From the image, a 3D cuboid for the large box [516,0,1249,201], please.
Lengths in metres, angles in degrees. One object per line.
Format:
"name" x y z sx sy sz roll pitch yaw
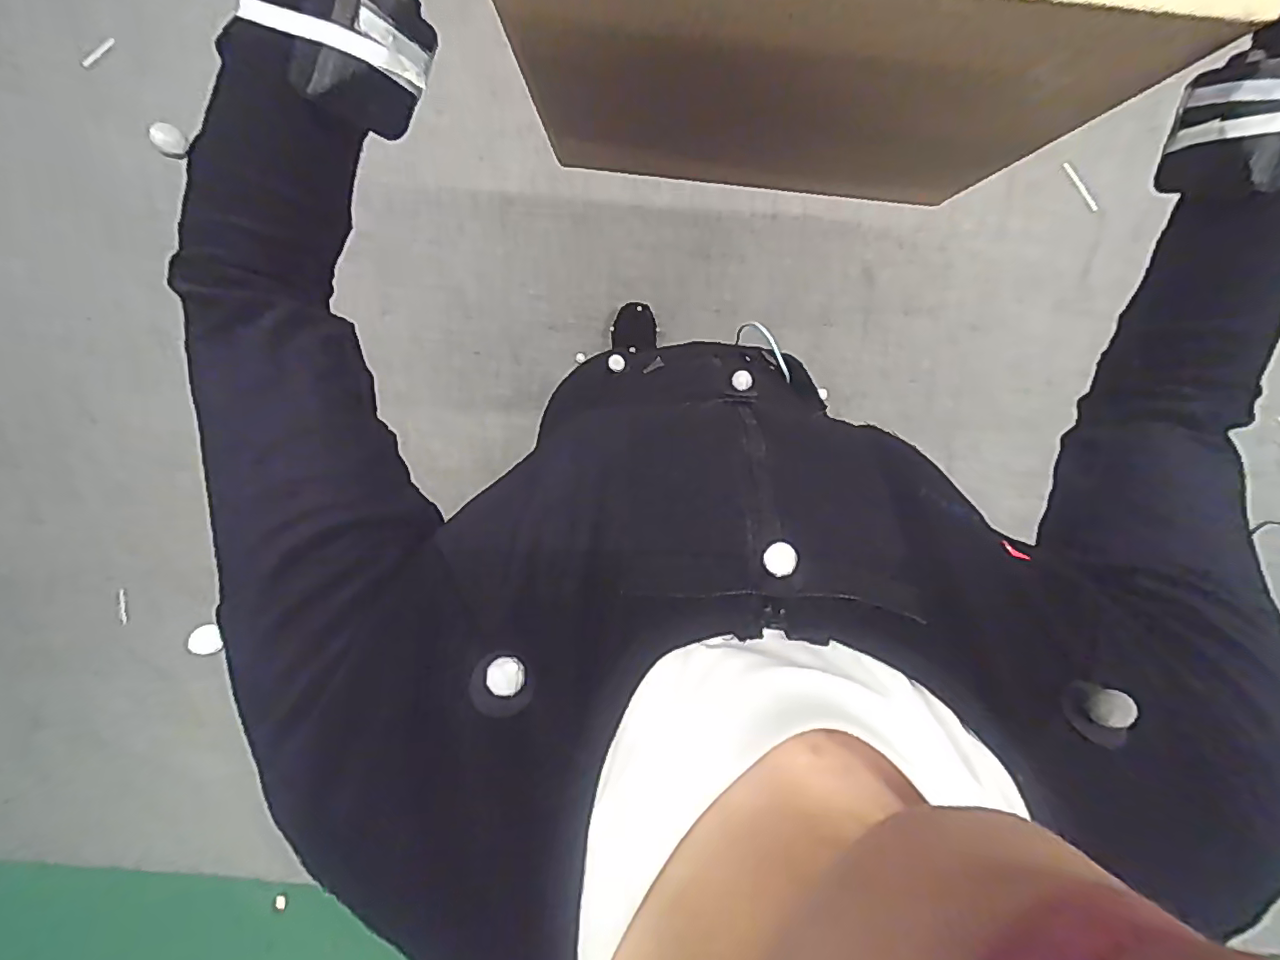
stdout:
"large box" 0.130 -0.430 0.399 0.408 0.320 0.320 5 101 -2
